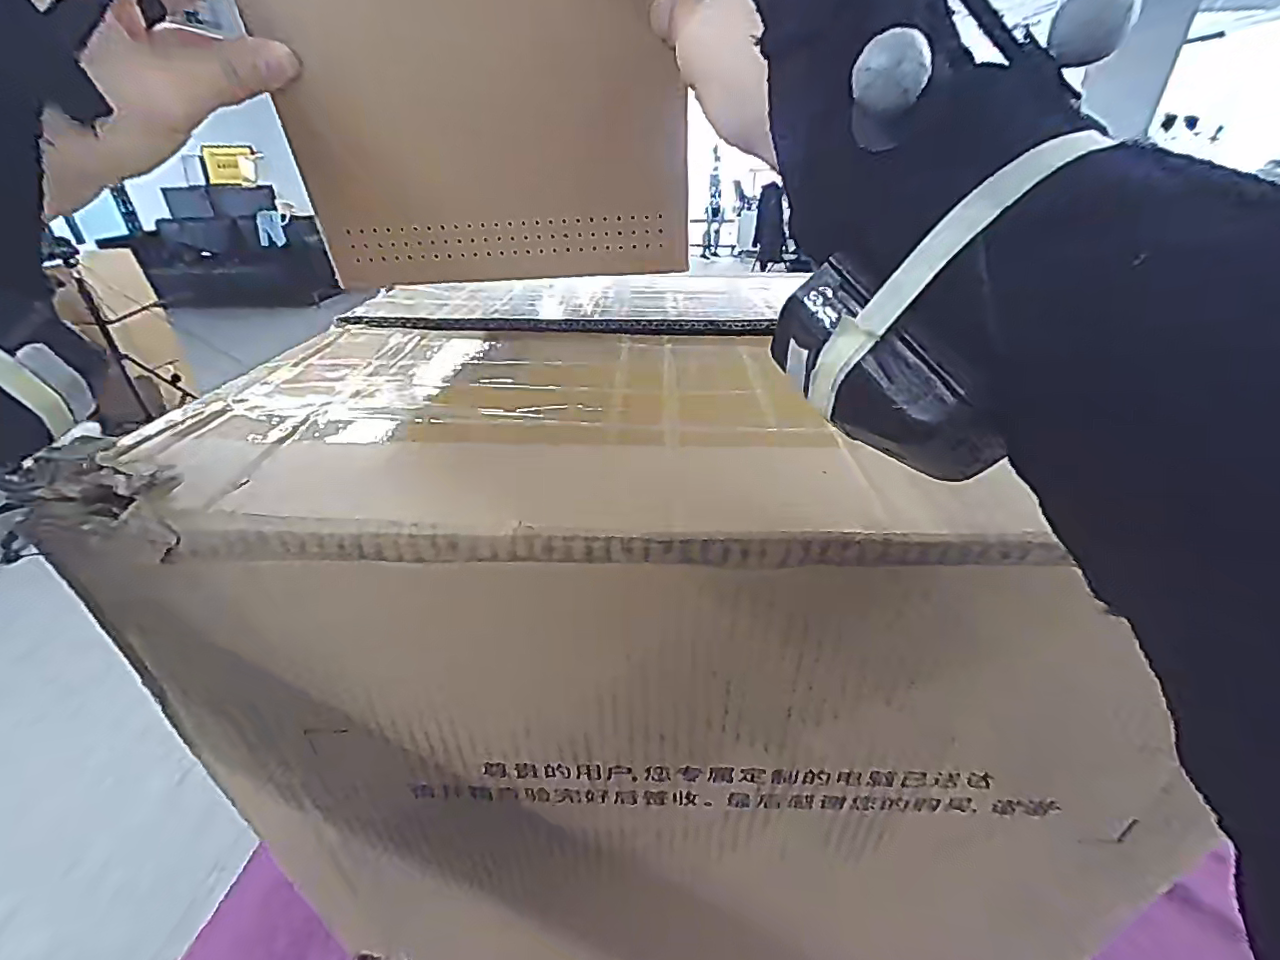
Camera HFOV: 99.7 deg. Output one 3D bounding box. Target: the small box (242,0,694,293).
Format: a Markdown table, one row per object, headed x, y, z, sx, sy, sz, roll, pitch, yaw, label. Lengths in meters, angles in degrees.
| x | y | z | sx | sy | sz | roll | pitch | yaw | label |
| --- | --- | --- | --- | --- | --- | --- | --- | --- | --- |
| -0.063 | -0.208 | 0.284 | 0.179 | 0.176 | 0.168 | -3 | 37 | 2 | small box |
